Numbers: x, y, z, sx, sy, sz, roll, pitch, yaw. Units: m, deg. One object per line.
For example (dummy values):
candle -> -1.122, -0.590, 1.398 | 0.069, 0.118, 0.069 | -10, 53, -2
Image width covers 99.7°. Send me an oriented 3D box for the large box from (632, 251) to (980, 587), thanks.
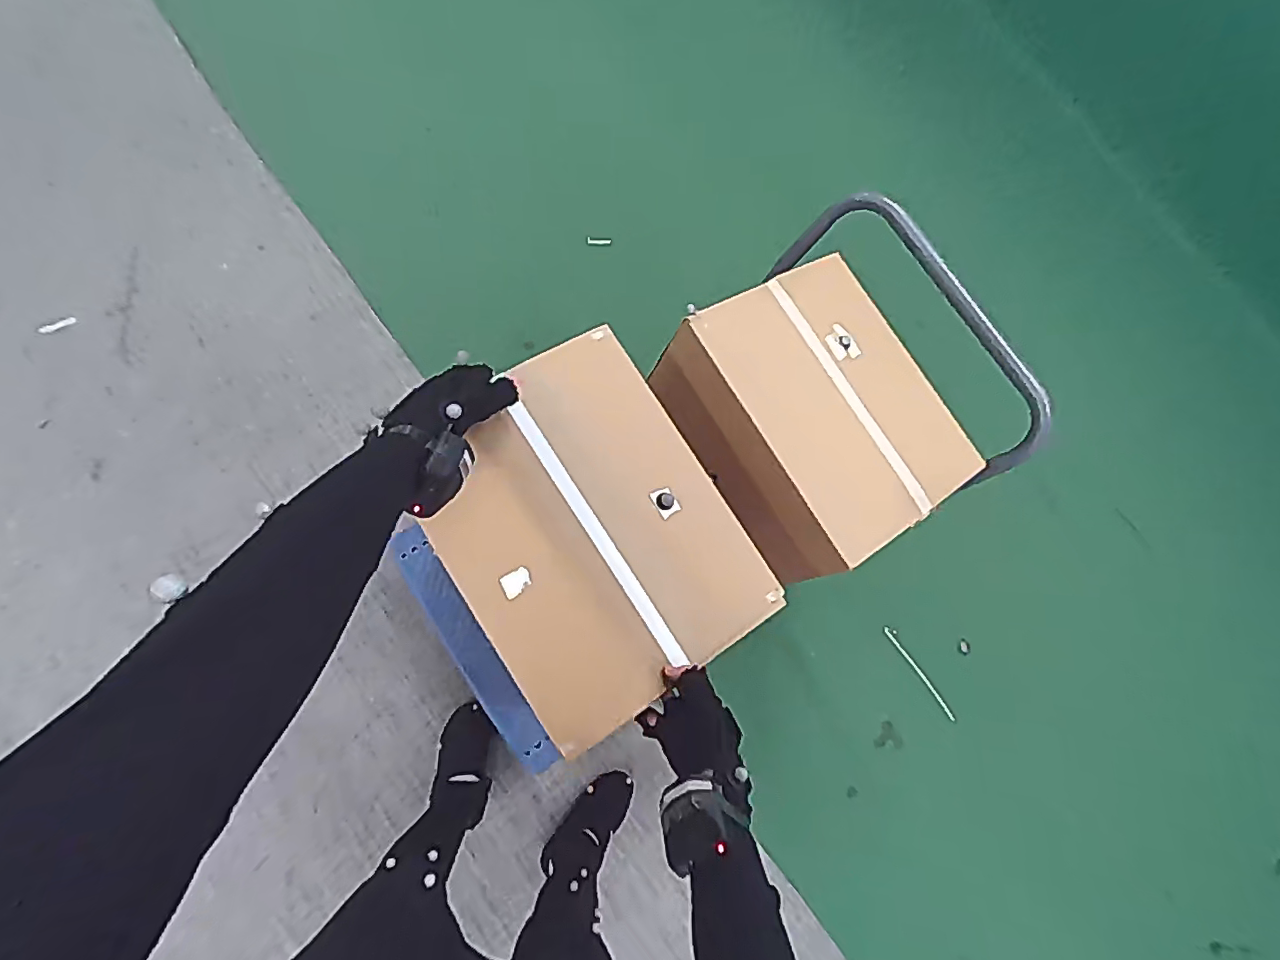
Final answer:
large box -> 0.241, -0.082, 0.905 | 0.320, 0.320, 0.408 | -29, 82, -22
